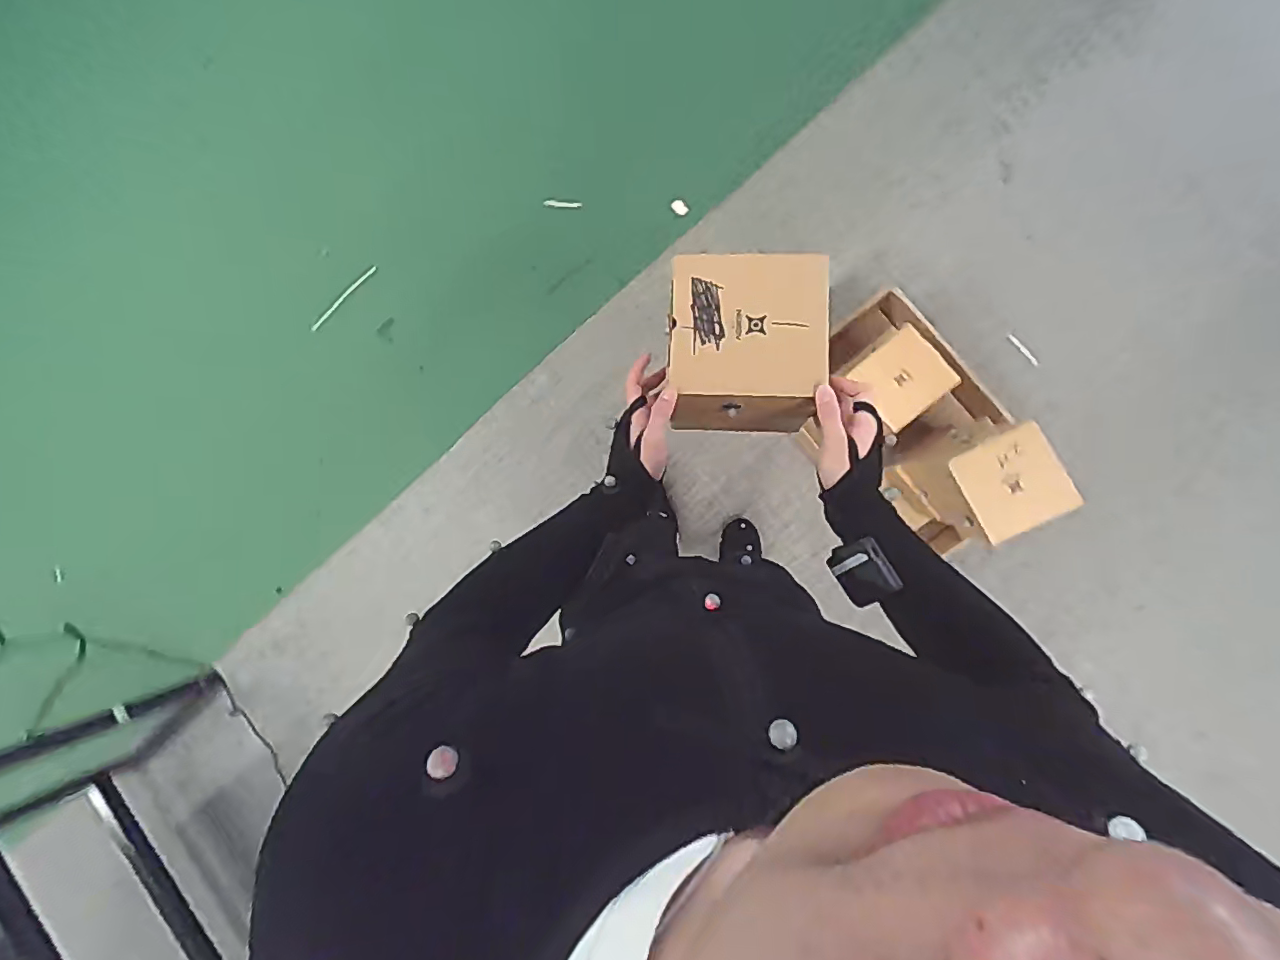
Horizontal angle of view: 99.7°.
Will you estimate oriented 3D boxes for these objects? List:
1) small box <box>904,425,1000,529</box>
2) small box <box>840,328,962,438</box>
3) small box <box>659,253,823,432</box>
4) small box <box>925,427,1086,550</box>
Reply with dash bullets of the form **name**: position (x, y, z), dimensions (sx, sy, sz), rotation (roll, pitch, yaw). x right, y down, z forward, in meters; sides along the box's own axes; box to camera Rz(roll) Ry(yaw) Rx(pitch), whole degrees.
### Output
- **small box**: position (0.725, -0.002, 1.200), dimensions (0.168, 0.176, 0.179), rotation (-35, 83, 10)
- **small box**: position (0.580, -0.211, 1.234), dimensions (0.179, 0.176, 0.168), rotation (-40, 84, 8)
- **small box**: position (0.117, -0.158, 0.668), dimensions (0.179, 0.176, 0.168), rotation (1, 81, 5)
- **small box**: position (0.686, 0.014, 1.039), dimensions (0.168, 0.176, 0.179), rotation (-27, 84, 11)
